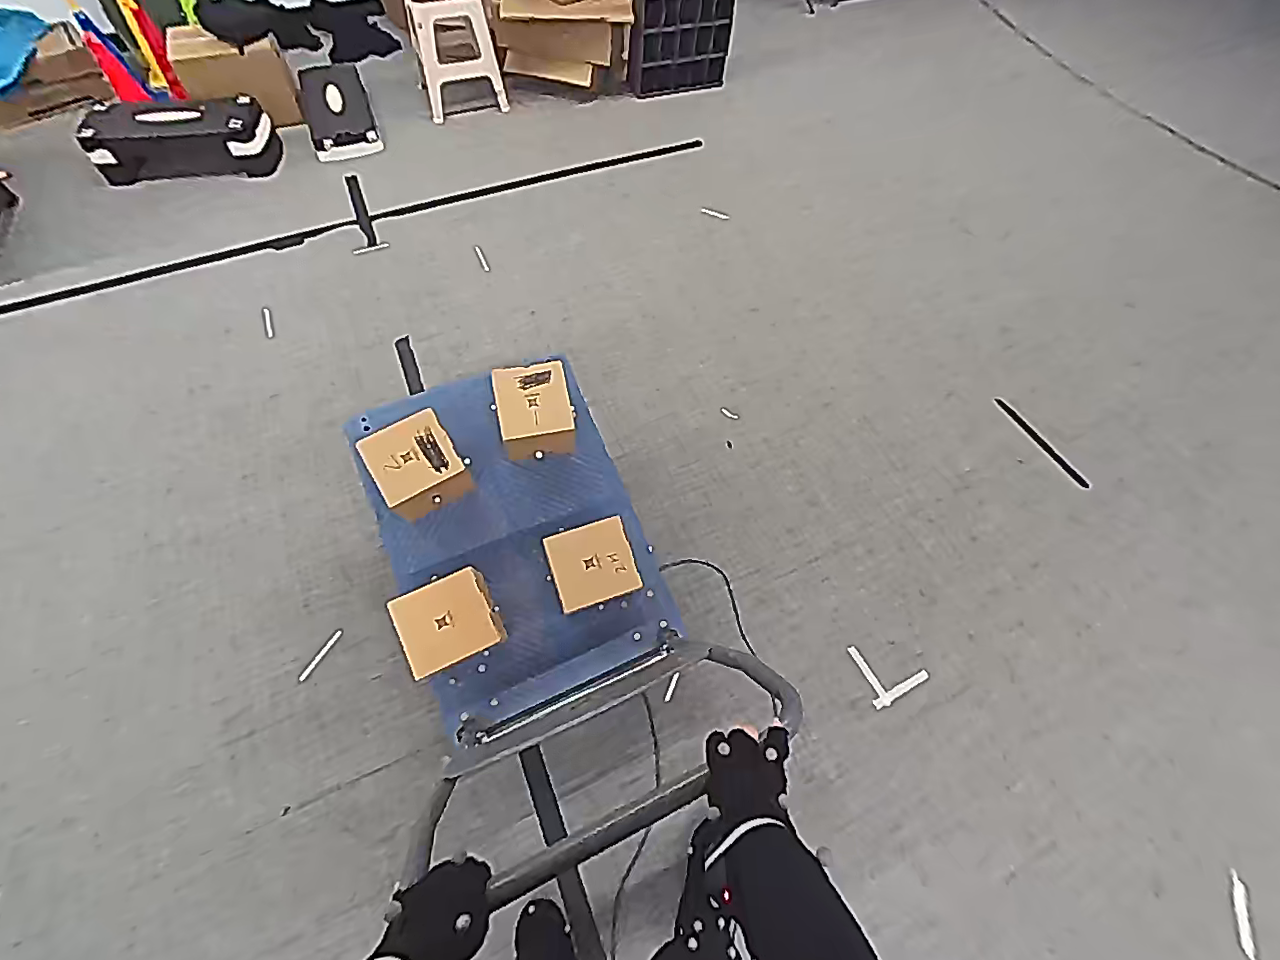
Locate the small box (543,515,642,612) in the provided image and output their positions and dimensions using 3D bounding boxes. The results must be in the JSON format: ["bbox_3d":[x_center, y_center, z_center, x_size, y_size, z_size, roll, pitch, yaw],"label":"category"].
[{"bbox_3d":[-0.110,0.196,1.224,0.179,0.176,0.168,-16,78,-13],"label":"small box"}]

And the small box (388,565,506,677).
[{"bbox_3d":[-0.401,0.300,1.150,0.179,0.176,0.168,-24,79,-15],"label":"small box"}]

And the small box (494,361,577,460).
[{"bbox_3d":[-0.252,-0.163,1.304,0.168,0.176,0.179,-10,77,-11],"label":"small box"}]
